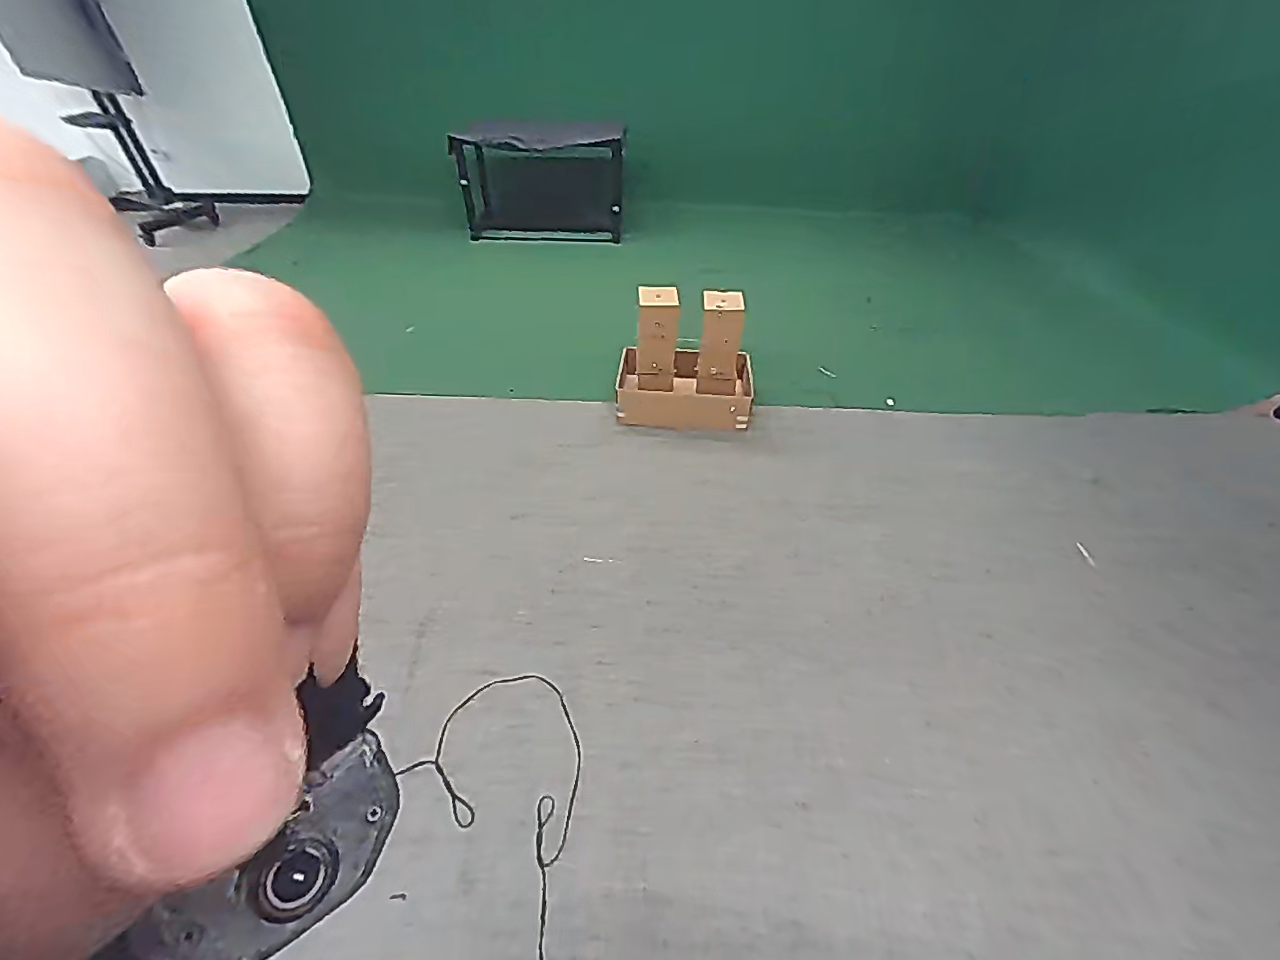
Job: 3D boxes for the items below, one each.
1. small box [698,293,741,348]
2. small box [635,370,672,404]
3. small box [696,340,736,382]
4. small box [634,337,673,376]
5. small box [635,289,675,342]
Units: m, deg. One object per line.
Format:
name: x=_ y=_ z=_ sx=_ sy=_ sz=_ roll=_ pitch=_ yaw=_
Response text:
small box: x=0.339 y=-0.684 z=2.320 sx=0.168 sy=0.176 sz=0.179 roll=2 pitch=42 yaw=3
small box: x=0.062 y=-0.482 z=2.581 sx=0.168 sy=0.176 sz=0.179 roll=1 pitch=44 yaw=-1
small box: x=0.340 y=-0.564 z=2.432 sx=0.168 sy=0.176 sz=0.179 roll=3 pitch=45 yaw=5
small box: x=0.057 y=-0.594 z=2.460 sx=0.168 sy=0.176 sz=0.179 roll=0 pitch=45 yaw=-2
small box: x=0.063 y=-0.712 z=2.345 sx=0.168 sy=0.176 sz=0.179 roll=0 pitch=44 yaw=-3
